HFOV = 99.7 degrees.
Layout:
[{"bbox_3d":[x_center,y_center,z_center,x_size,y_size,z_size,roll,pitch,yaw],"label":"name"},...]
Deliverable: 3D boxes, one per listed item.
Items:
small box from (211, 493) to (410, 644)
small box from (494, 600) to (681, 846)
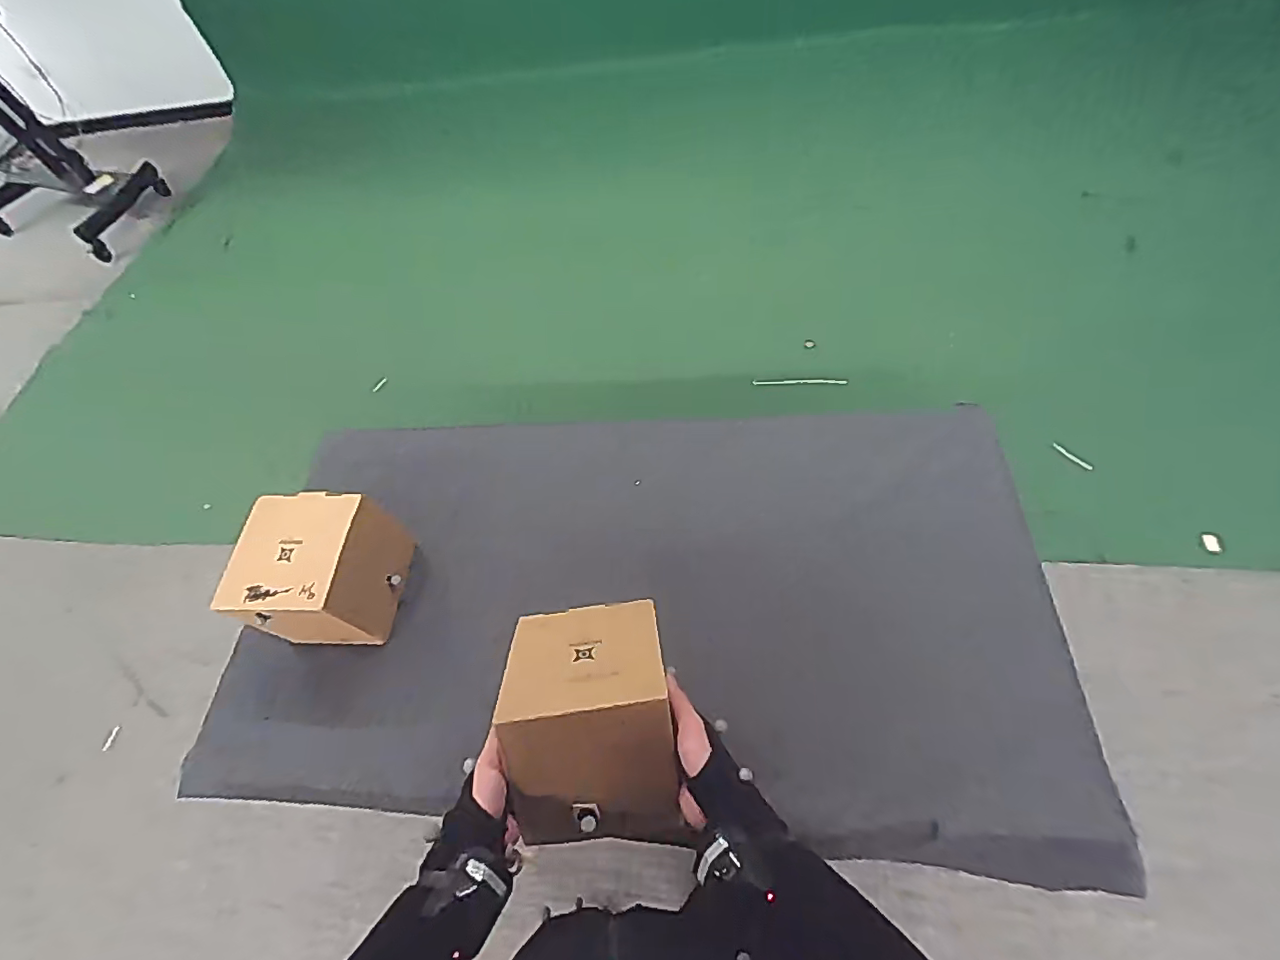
[{"bbox_3d":[-0.474,0.135,0.814,0.168,0.176,0.179,-2,59,8],"label":"small box"},{"bbox_3d":[-0.050,0.259,0.601,0.168,0.176,0.179,-8,20,-1],"label":"small box"}]
